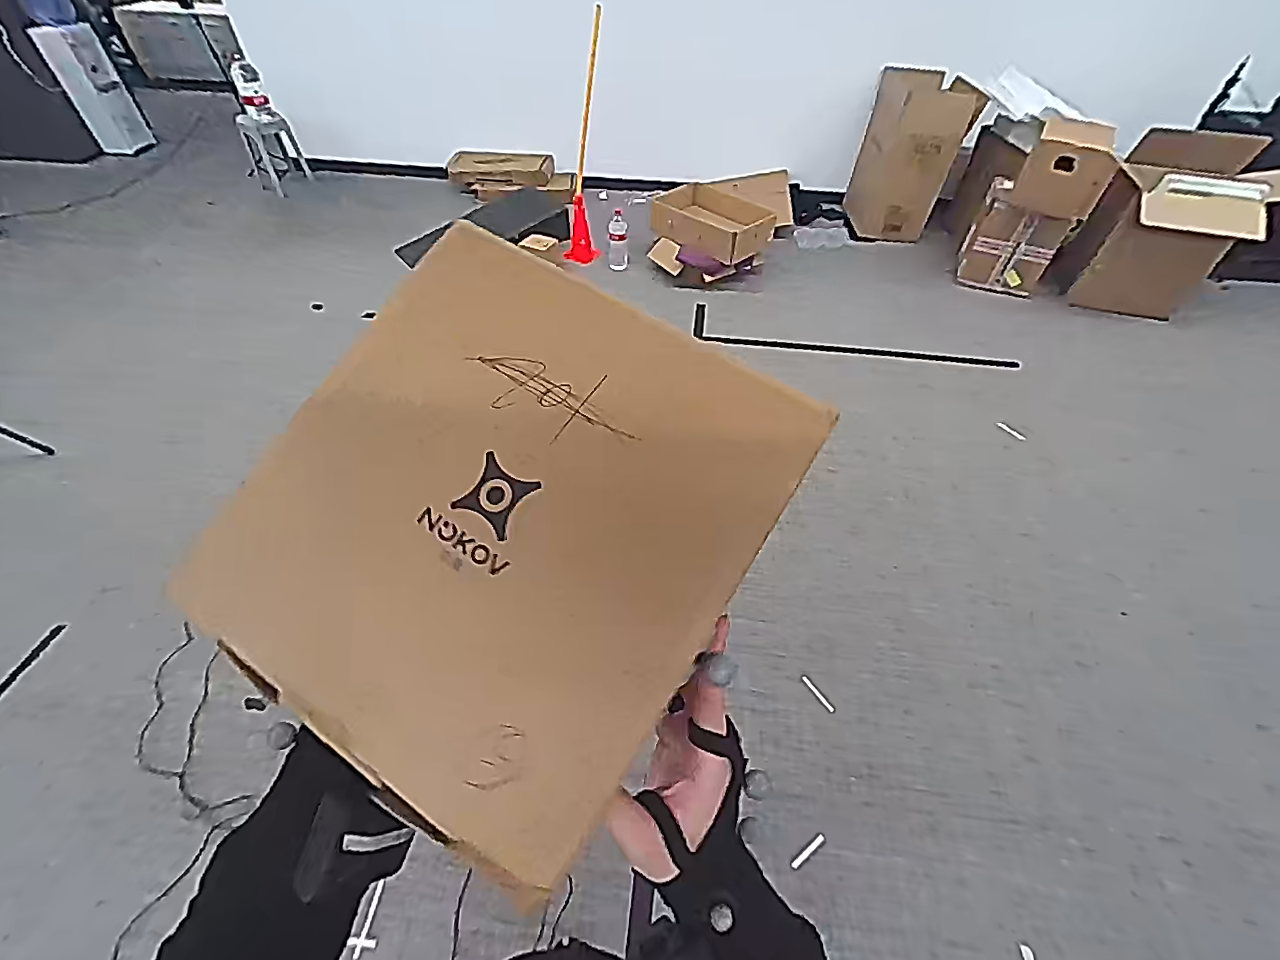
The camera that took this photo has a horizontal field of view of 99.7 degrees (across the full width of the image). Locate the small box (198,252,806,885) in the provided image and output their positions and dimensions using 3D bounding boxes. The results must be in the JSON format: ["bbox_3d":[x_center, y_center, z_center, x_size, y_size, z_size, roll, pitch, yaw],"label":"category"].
[{"bbox_3d":[-0.042,0.035,0.270,0.168,0.176,0.179,28,78,12],"label":"small box"}]
